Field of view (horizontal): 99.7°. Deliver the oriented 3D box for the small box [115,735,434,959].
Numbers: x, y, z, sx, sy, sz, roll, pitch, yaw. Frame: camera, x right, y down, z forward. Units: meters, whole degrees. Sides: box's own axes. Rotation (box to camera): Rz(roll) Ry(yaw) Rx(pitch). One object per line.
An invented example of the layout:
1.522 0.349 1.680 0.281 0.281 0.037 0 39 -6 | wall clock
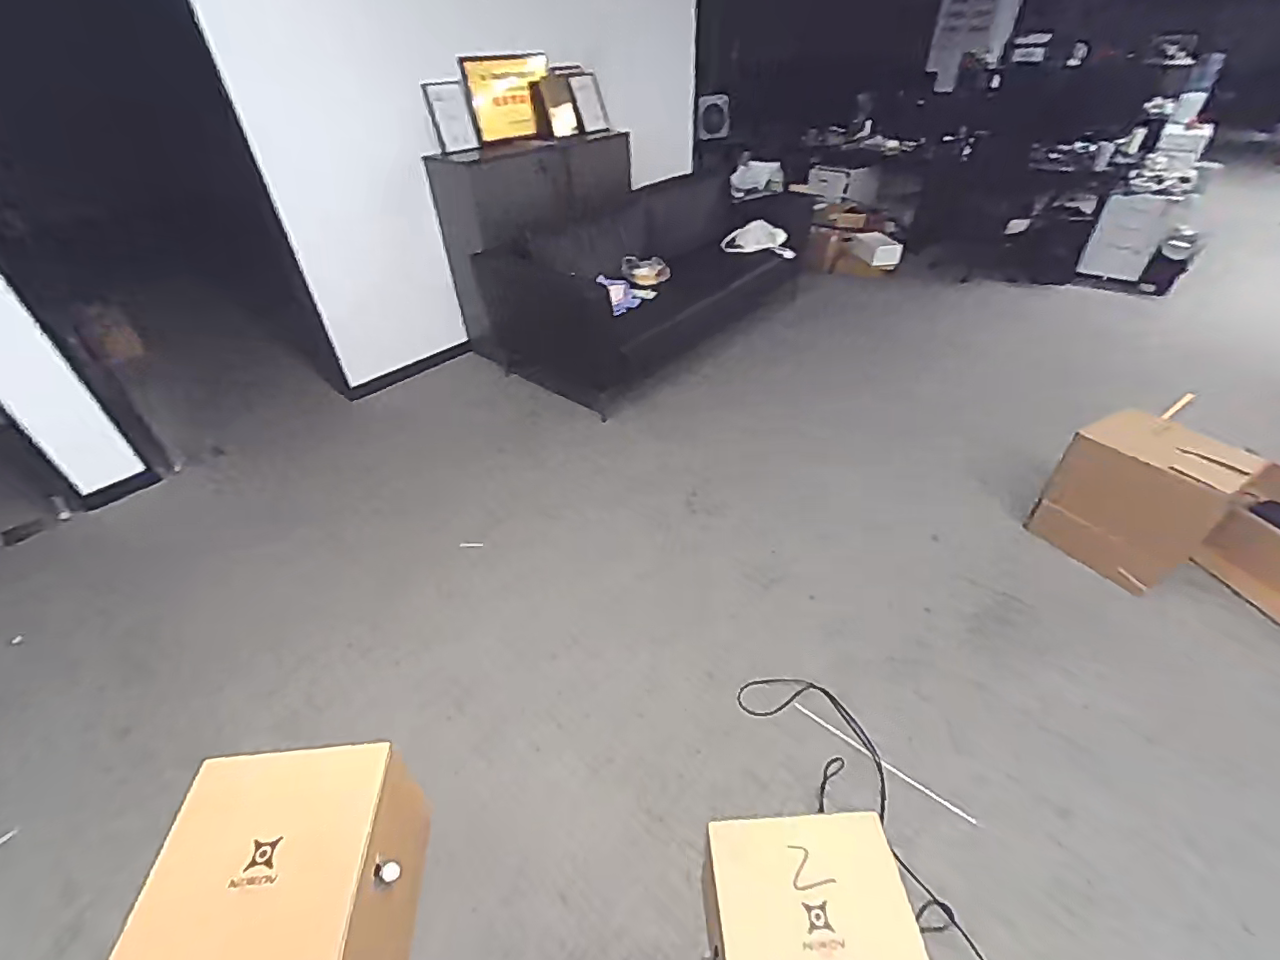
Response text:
-0.300 0.359 0.493 0.168 0.176 0.179 -2 42 -4 | small box
